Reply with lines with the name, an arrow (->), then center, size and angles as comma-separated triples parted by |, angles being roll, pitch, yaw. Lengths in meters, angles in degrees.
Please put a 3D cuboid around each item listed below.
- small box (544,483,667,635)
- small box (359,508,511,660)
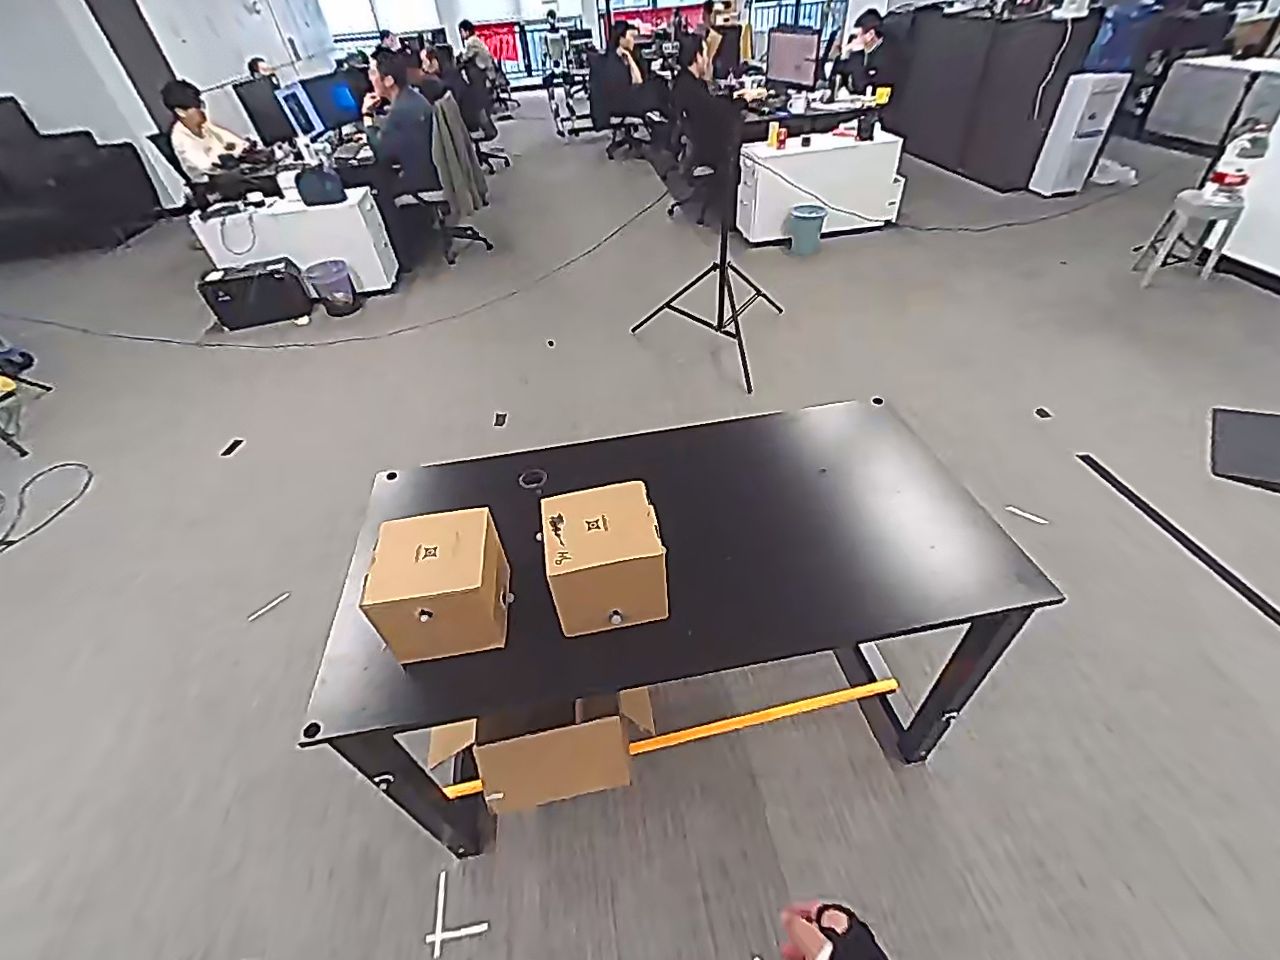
small box -> -0.056, 0.131, 0.892 | 0.179, 0.176, 0.168 | -10, 42, -6
small box -> -0.316, 0.171, 0.875 | 0.179, 0.176, 0.168 | -8, 44, -5
